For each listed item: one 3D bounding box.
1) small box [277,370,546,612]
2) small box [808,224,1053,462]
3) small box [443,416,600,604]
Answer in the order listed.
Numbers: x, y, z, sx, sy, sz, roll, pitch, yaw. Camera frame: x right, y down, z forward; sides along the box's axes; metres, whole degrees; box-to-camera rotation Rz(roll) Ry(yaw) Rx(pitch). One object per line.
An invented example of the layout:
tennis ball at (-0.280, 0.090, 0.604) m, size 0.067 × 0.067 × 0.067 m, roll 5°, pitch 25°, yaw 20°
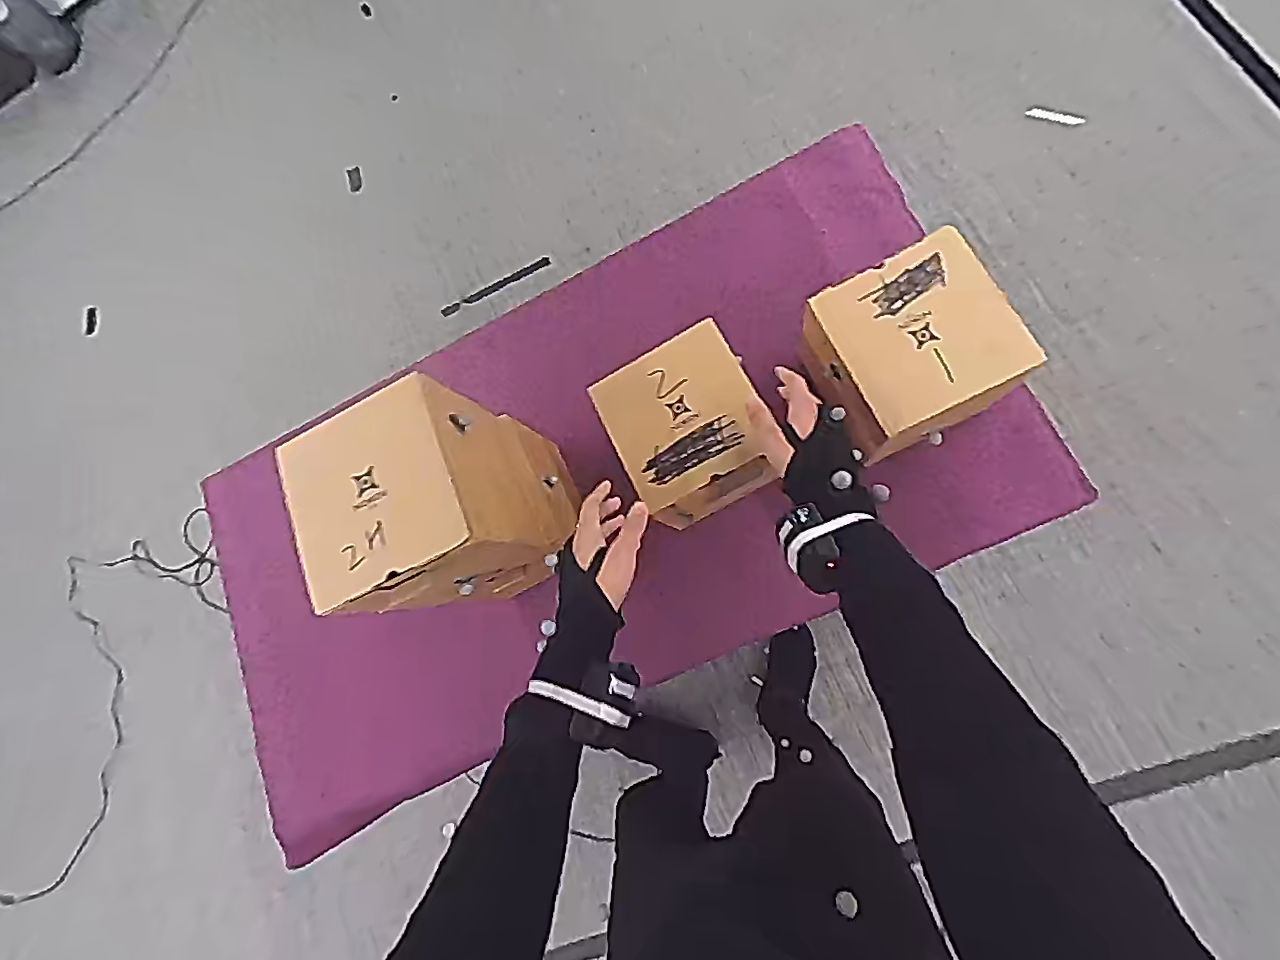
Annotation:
small box at (-0.223, 0.022, 0.559) m, size 0.168 × 0.176 × 0.179 m, roll -26°, pitch 76°, yaw 8°
small box at (0.308, -0.142, 0.623) m, size 0.168 × 0.176 × 0.179 m, roll -27°, pitch 76°, yaw 9°
small box at (-0.174, 0.046, 0.715) m, size 0.168 × 0.176 × 0.179 m, roll -28°, pitch 75°, yaw 8°
